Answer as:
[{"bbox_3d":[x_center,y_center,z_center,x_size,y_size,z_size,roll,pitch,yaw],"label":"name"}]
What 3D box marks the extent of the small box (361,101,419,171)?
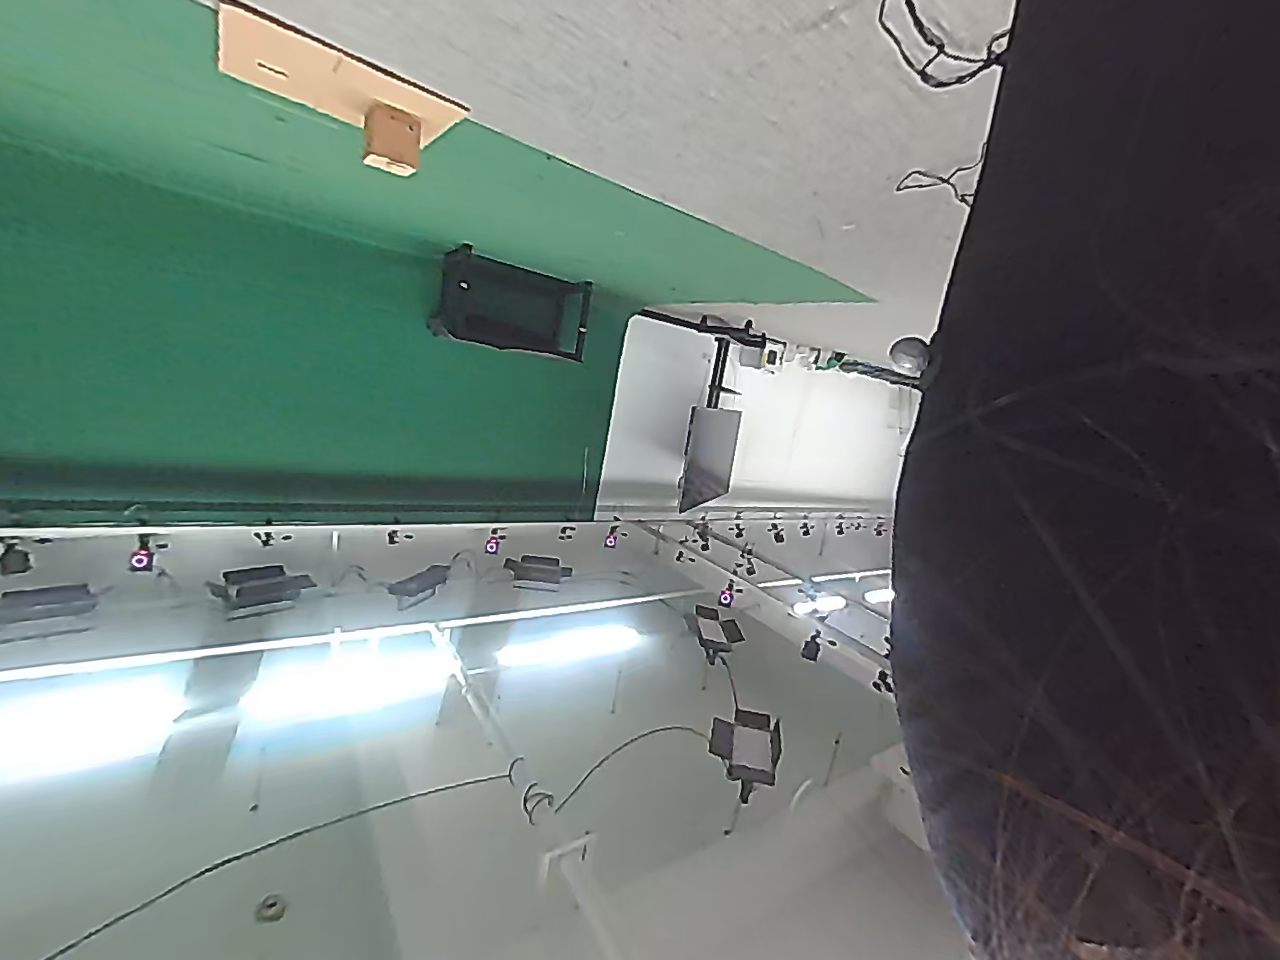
[{"bbox_3d":[-0.956,-1.316,2.070,0.168,0.176,0.179,1,-165,-40],"label":"small box"}]
